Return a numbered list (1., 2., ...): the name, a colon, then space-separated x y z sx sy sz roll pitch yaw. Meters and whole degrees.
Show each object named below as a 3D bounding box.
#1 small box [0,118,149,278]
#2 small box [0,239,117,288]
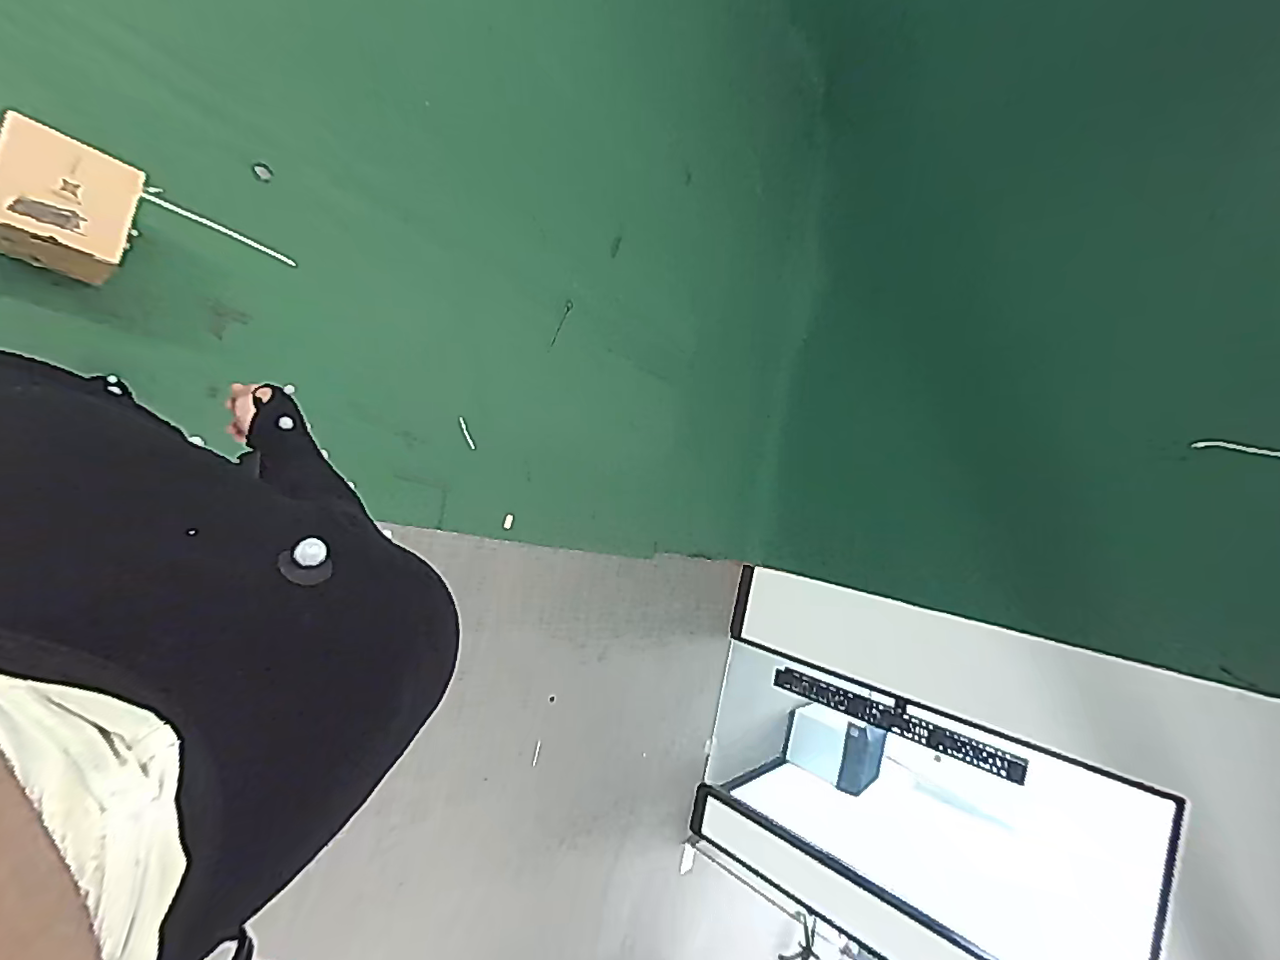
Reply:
1. small box: -1.004 -0.478 0.950 0.168 0.176 0.179 17 84 -49
2. small box: -1.125 -0.498 1.058 0.168 0.176 0.179 17 85 -49
